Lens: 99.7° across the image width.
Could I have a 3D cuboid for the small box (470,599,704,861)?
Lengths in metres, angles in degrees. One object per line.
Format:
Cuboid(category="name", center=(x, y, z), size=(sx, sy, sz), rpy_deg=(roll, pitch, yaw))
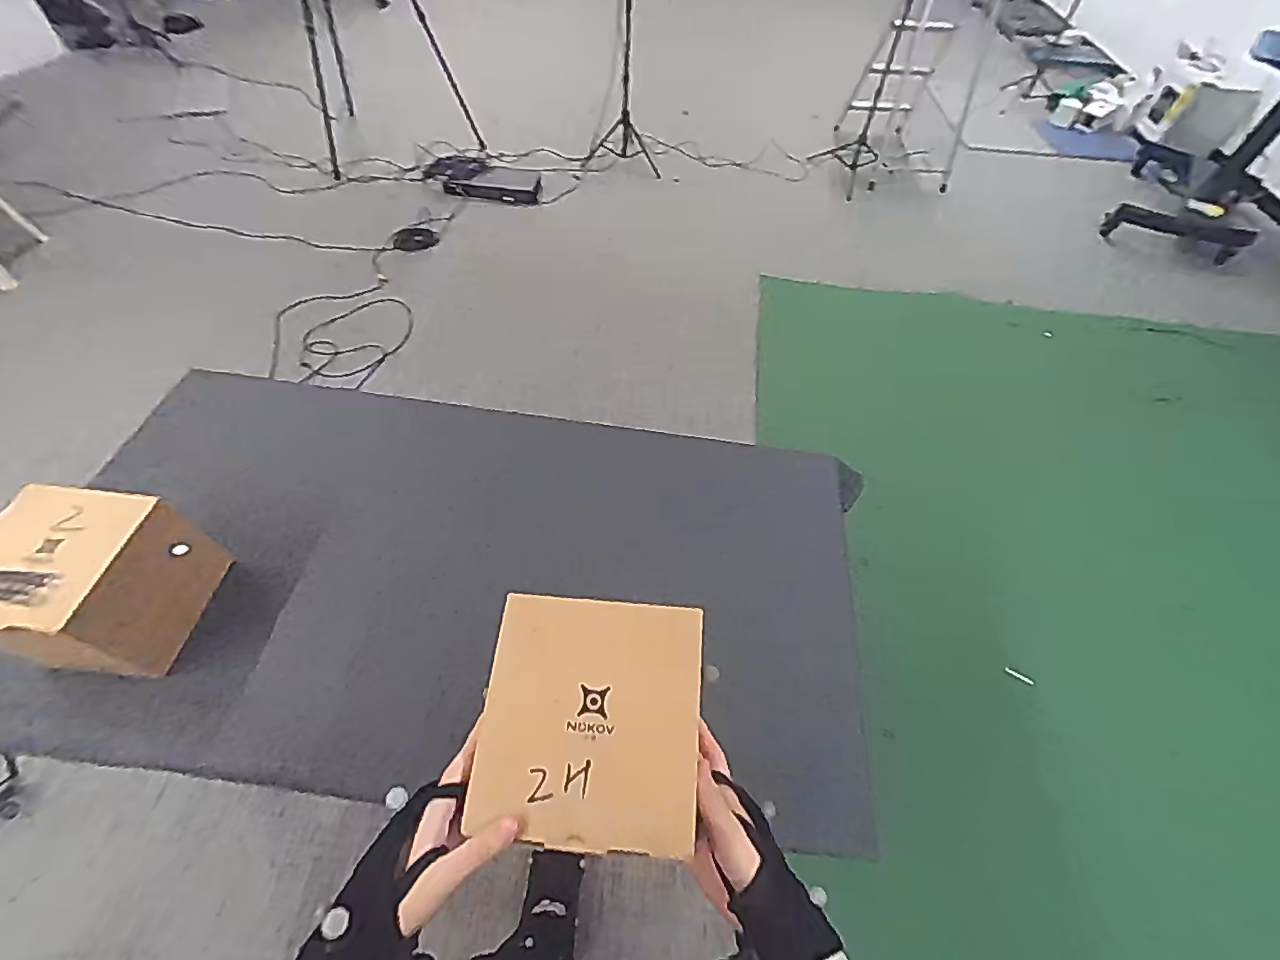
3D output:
Cuboid(category="small box", center=(-0.031, 0.220, 0.490), size=(0.168, 0.176, 0.179), rpy_deg=(2, 63, 5))
